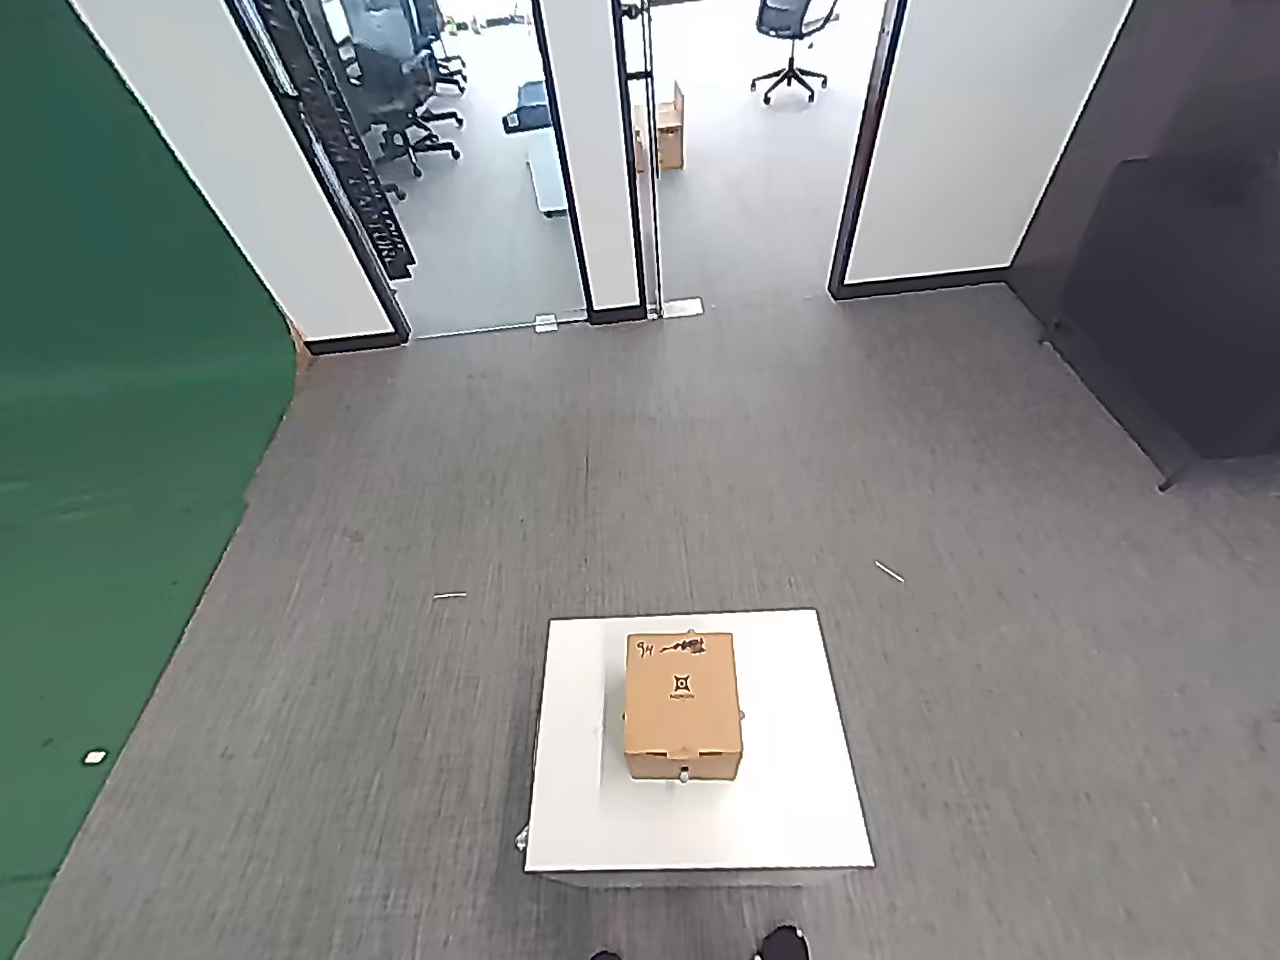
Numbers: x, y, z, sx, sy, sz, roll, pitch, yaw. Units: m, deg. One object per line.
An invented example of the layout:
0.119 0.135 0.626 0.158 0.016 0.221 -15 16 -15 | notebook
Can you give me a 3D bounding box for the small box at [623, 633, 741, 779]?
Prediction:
0.064 0.361 0.851 0.168 0.176 0.179 -4 50 3 | small box
